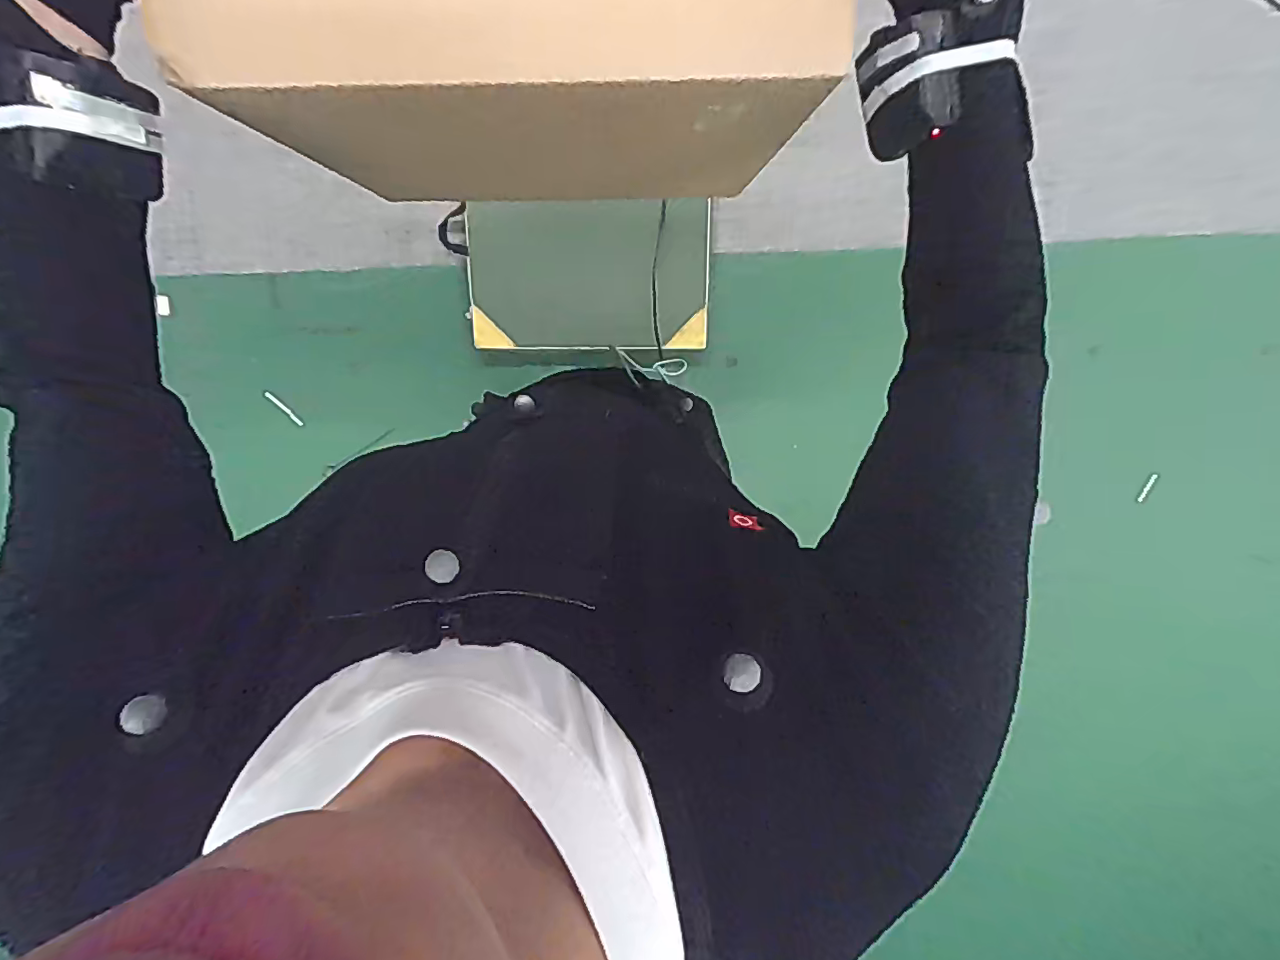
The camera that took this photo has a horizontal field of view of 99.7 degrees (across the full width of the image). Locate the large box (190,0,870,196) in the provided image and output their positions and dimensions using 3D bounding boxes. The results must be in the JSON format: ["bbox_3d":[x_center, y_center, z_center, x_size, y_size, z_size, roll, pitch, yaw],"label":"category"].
[{"bbox_3d":[-0.073,-0.435,0.429,0.408,0.320,0.320,-2,107,-3],"label":"large box"}]
